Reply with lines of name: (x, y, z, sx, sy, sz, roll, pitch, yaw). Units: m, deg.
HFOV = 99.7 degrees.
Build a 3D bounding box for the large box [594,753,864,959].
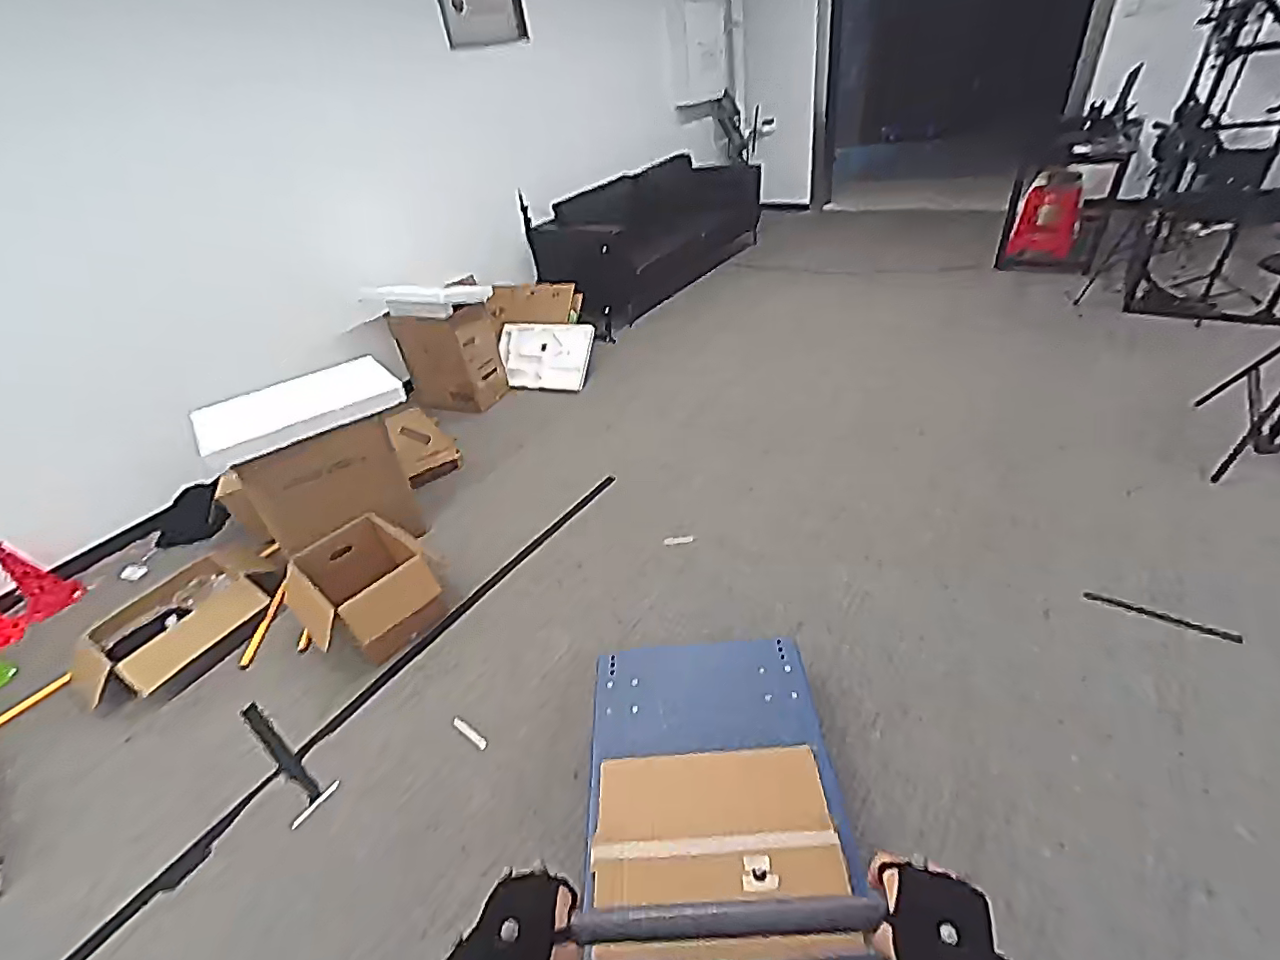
large box: (0.139, 0.743, 0.989, 0.408, 0.320, 0.320, -6, 37, 3)
